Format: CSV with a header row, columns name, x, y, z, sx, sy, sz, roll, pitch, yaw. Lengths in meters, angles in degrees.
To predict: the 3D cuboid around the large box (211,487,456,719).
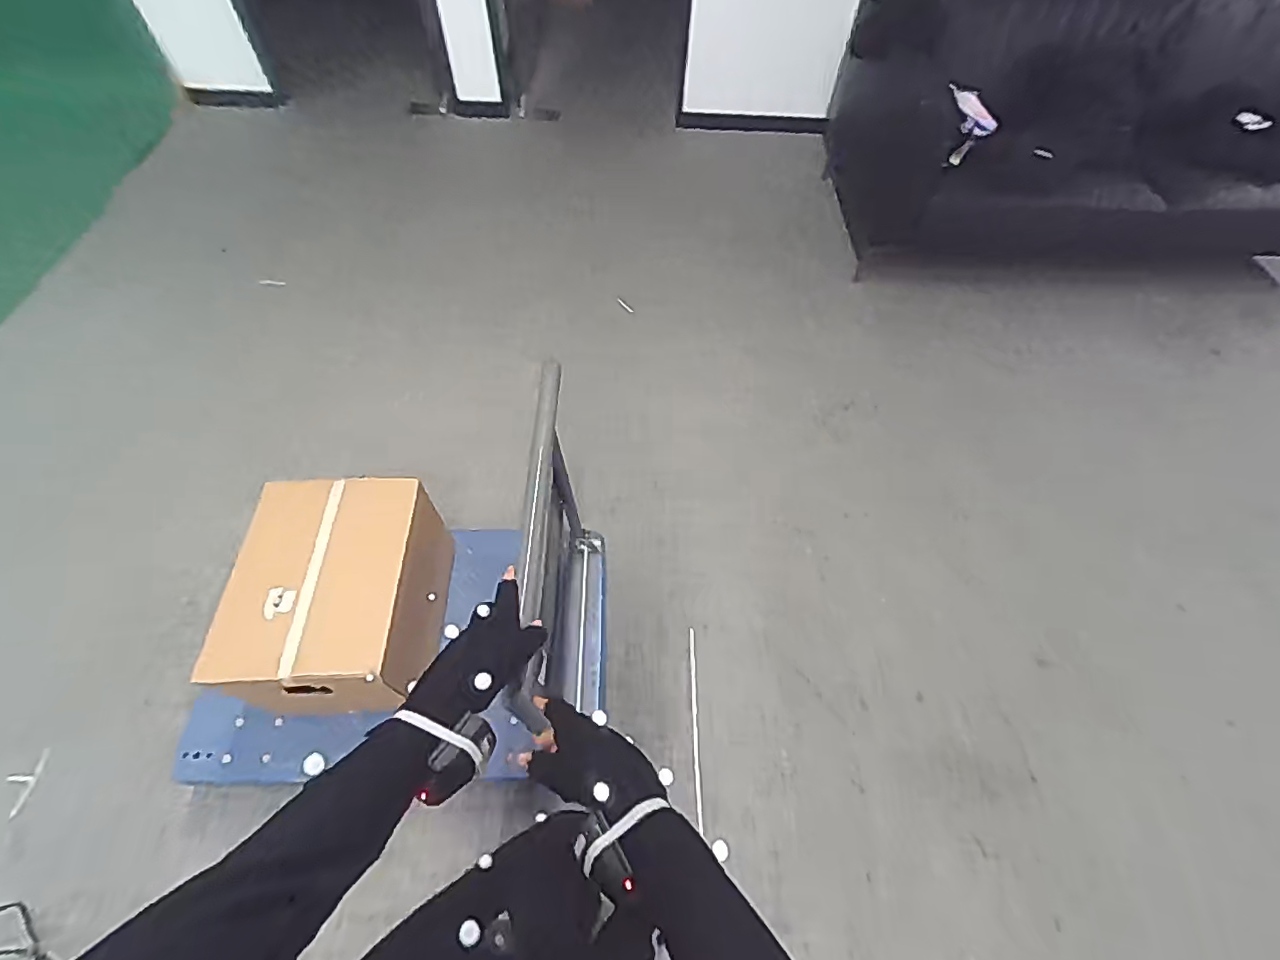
name,x,y,z,sx,sy,sz,roll,pitch,yaw
large box,-0.599,0.264,1.155,0.320,0.320,0.408,-2,58,-4
